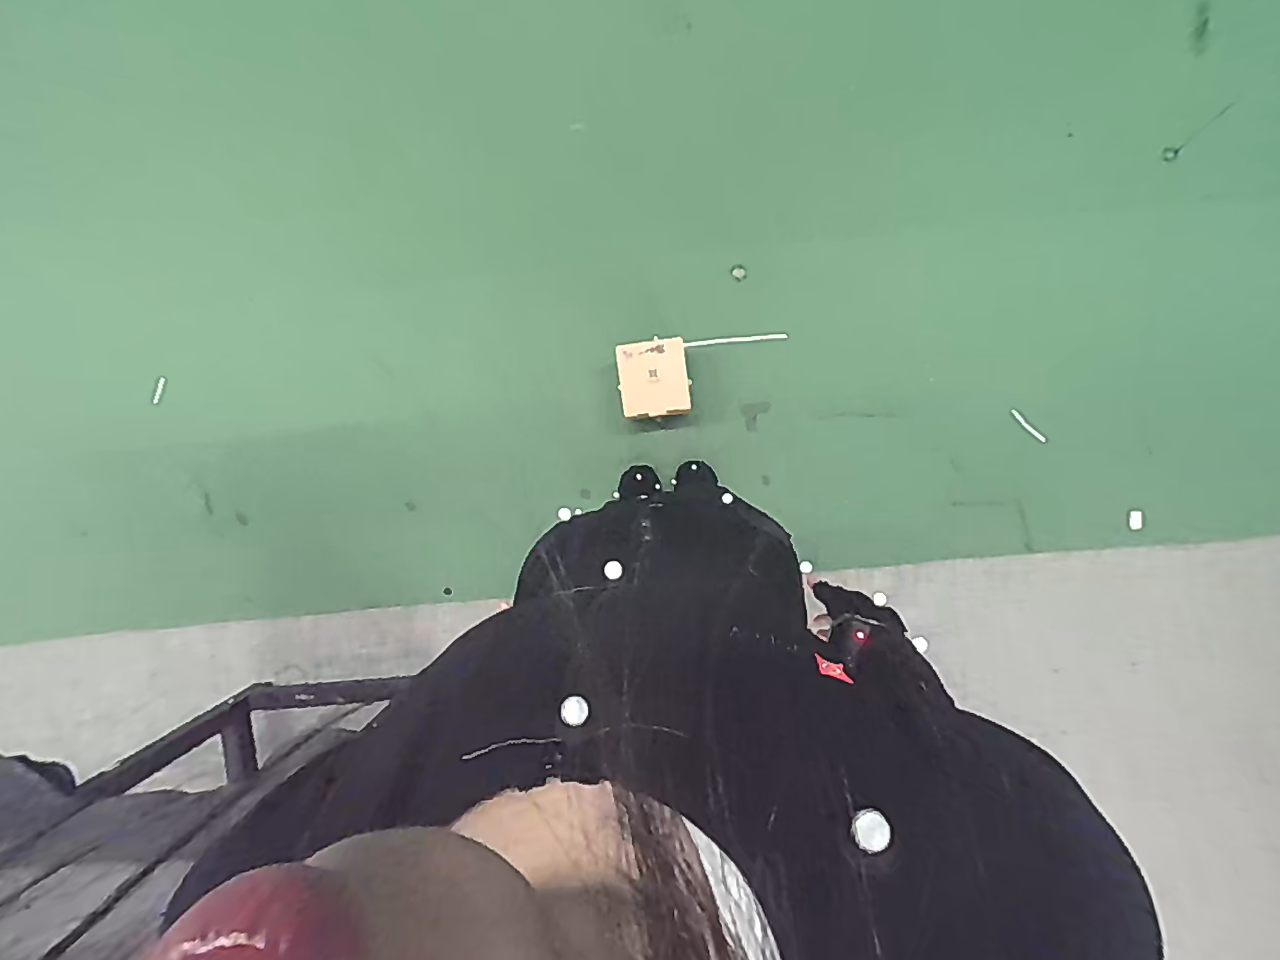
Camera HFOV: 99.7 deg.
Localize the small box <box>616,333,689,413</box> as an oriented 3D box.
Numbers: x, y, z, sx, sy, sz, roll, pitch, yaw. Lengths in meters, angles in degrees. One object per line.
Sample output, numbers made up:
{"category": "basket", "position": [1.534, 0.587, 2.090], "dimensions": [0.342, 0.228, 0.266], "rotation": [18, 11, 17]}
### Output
{"category": "small box", "position": [0.037, -0.267, 1.378], "dimensions": [0.168, 0.176, 0.179], "rotation": [-7, 96, 4]}
